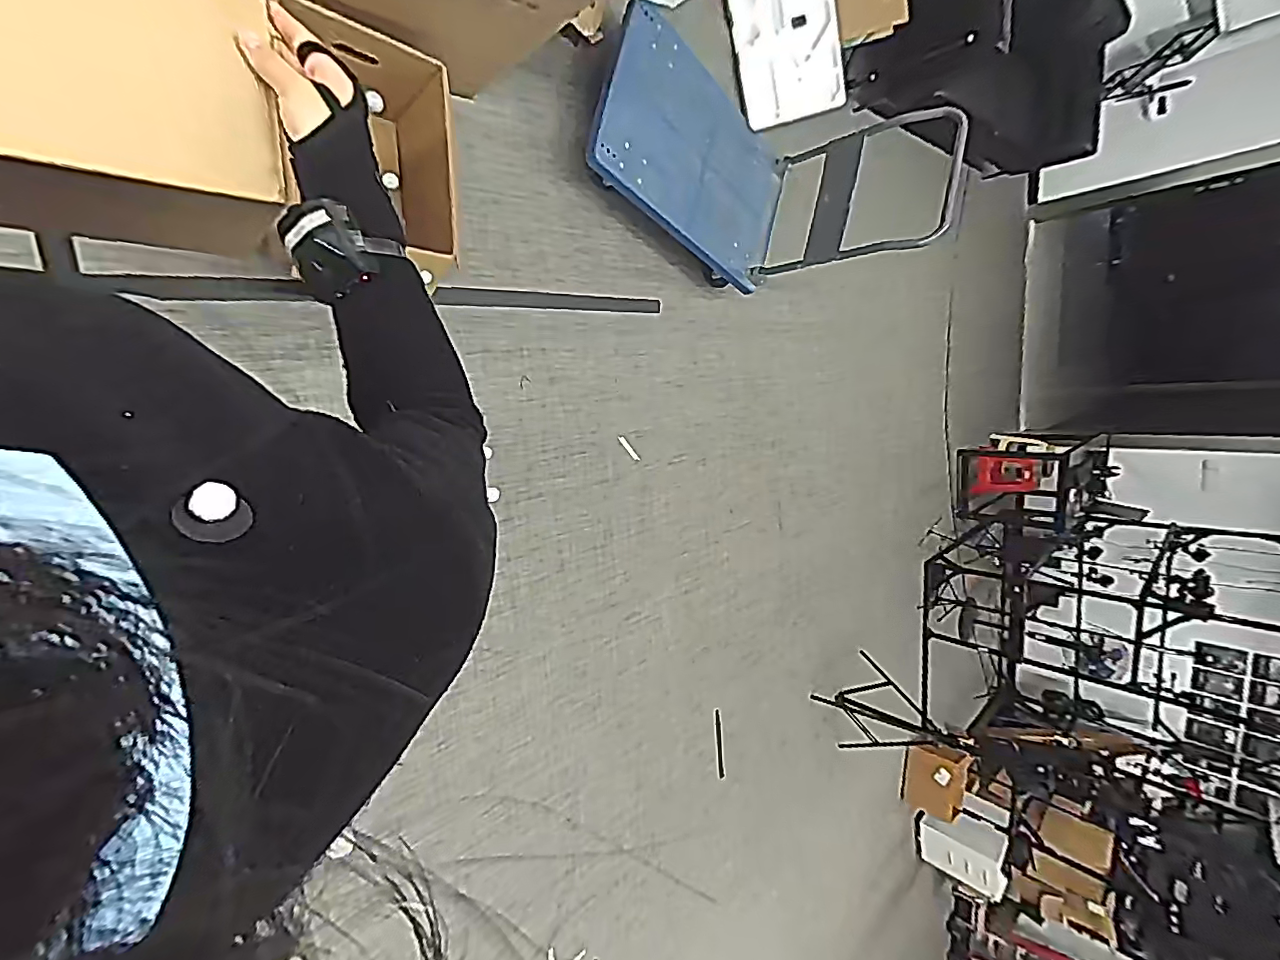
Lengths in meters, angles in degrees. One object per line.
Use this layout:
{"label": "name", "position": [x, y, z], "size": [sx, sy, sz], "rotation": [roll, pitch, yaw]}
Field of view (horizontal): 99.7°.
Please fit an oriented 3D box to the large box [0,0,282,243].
{"label": "large box", "position": [-0.546, -0.385, 0.408], "size": [0.408, 0.320, 0.320], "rotation": [-9, 105, -40]}
